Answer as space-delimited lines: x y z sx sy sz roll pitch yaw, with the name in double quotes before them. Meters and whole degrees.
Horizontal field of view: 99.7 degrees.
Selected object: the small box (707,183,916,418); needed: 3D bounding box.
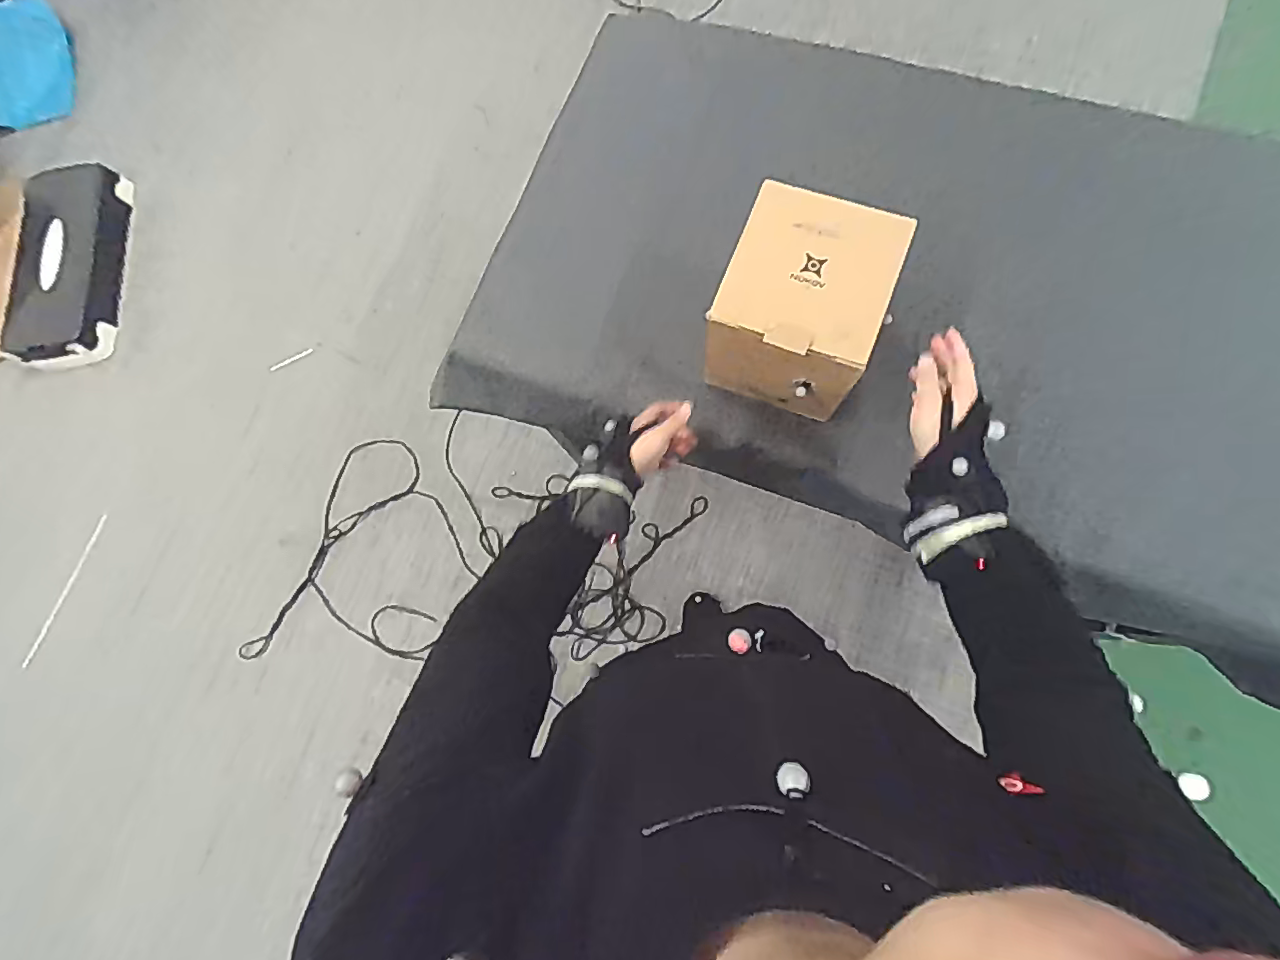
"small box" 0.184 -0.194 0.627 0.168 0.176 0.179 21 79 9
